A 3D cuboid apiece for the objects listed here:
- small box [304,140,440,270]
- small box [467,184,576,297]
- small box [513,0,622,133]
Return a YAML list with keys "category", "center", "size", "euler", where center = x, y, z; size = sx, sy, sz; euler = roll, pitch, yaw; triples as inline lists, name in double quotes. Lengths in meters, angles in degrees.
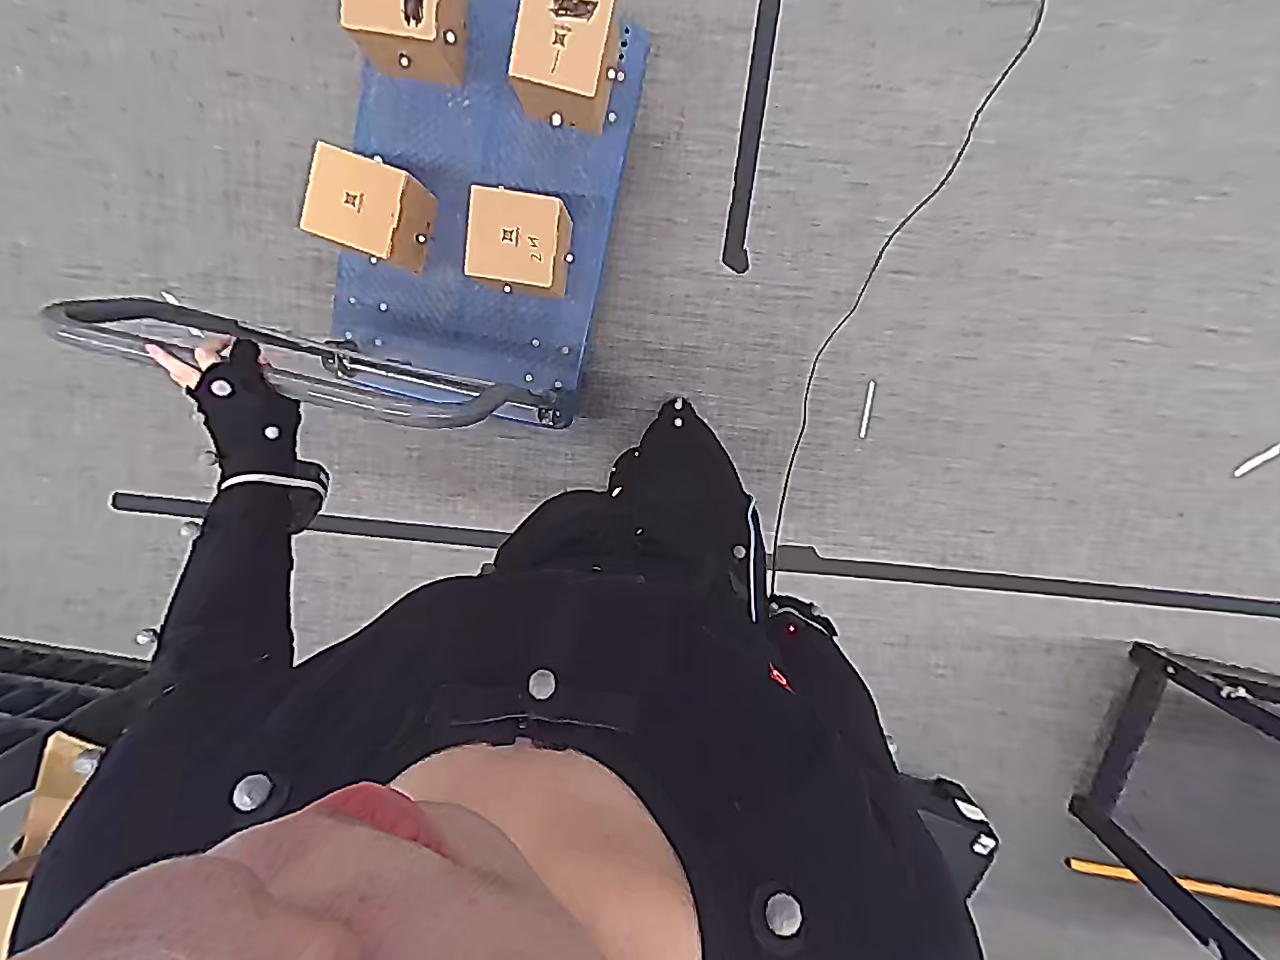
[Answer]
- category: "small box"
  center: [-0.540, -0.549, 1.108]
  size: [0.179, 0.176, 0.168]
  euler: [18, 99, -5]
- category: "small box"
  center: [-0.238, -0.484, 1.117]
  size: [0.179, 0.176, 0.168]
  euler: [9, 101, -1]
- category: "small box"
  center: [-0.133, -0.821, 1.052]
  size: [0.168, 0.176, 0.179]
  euler: [14, 102, -2]
